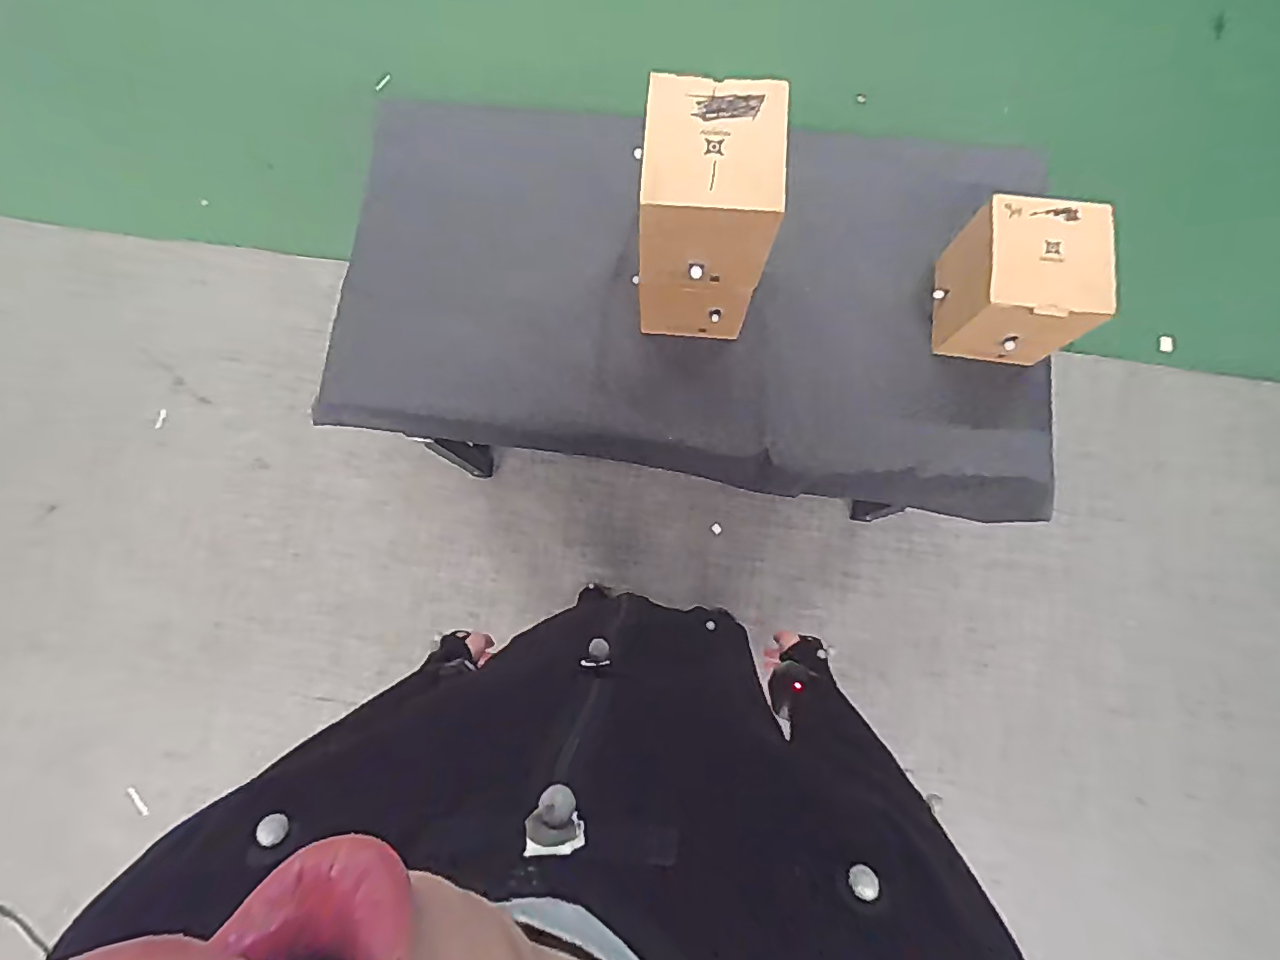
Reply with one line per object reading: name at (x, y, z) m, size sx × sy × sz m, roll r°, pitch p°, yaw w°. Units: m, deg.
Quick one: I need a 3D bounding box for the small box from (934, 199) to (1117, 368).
small box at (0.570, -0.287, 0.821) m, size 0.168 × 0.176 × 0.179 m, roll 9°, pitch 80°, yaw 3°

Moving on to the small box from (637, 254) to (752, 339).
small box at (0.087, -0.338, 0.845) m, size 0.168 × 0.176 × 0.179 m, roll 5°, pitch 78°, yaw 1°

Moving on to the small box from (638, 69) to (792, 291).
small box at (0.086, -0.367, 0.684) m, size 0.168 × 0.176 × 0.179 m, roll 5°, pitch 80°, yaw 1°
